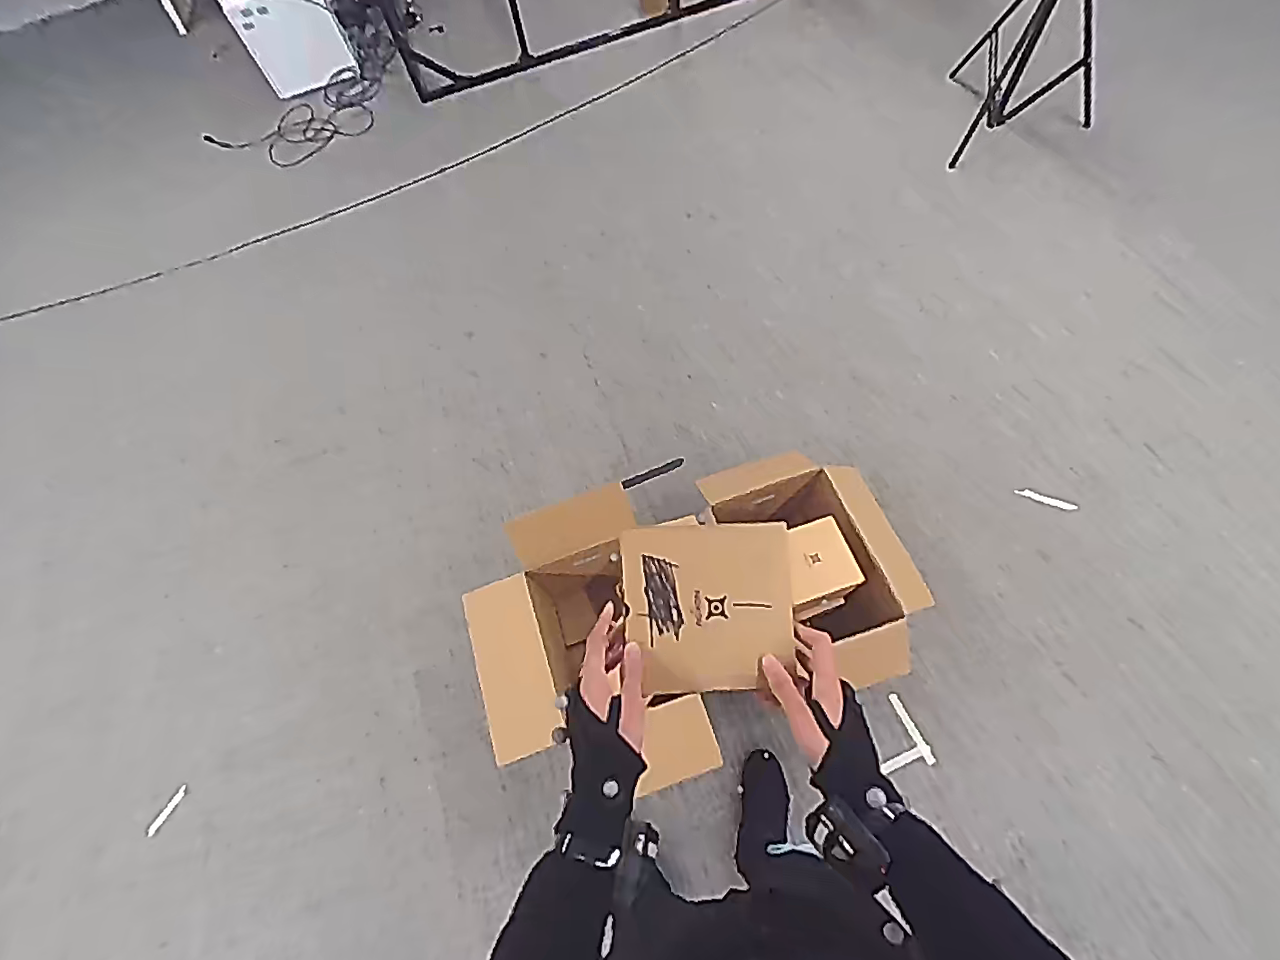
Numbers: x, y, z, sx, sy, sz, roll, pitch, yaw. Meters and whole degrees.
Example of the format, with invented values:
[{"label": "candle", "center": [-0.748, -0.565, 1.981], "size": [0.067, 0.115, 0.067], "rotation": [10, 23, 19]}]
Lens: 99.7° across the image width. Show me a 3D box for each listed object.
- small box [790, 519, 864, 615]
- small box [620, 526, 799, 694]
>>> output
[{"label": "small box", "center": [0.398, 0.217, 1.298], "size": [0.179, 0.176, 0.168], "rotation": [-19, 66, -3]}, {"label": "small box", "center": [0.068, 0.141, 0.624], "size": [0.179, 0.176, 0.168], "rotation": [-2, 83, -2]}]
